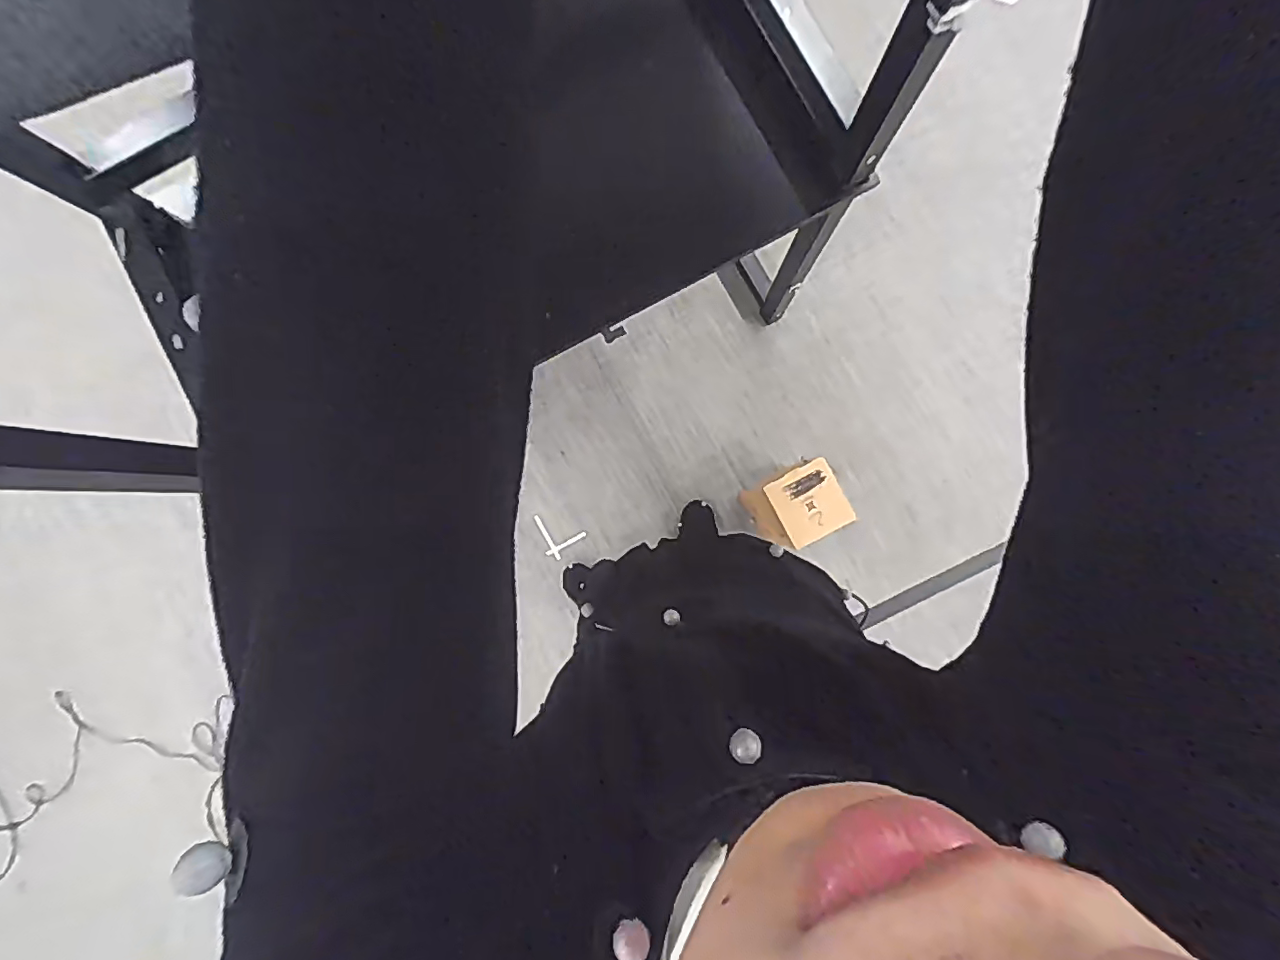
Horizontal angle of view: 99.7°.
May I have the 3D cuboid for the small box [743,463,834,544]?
[{"bbox_3d":[0.412,0.065,1.537,0.179,0.176,0.168,-30,86,2],"label":"small box"}]
